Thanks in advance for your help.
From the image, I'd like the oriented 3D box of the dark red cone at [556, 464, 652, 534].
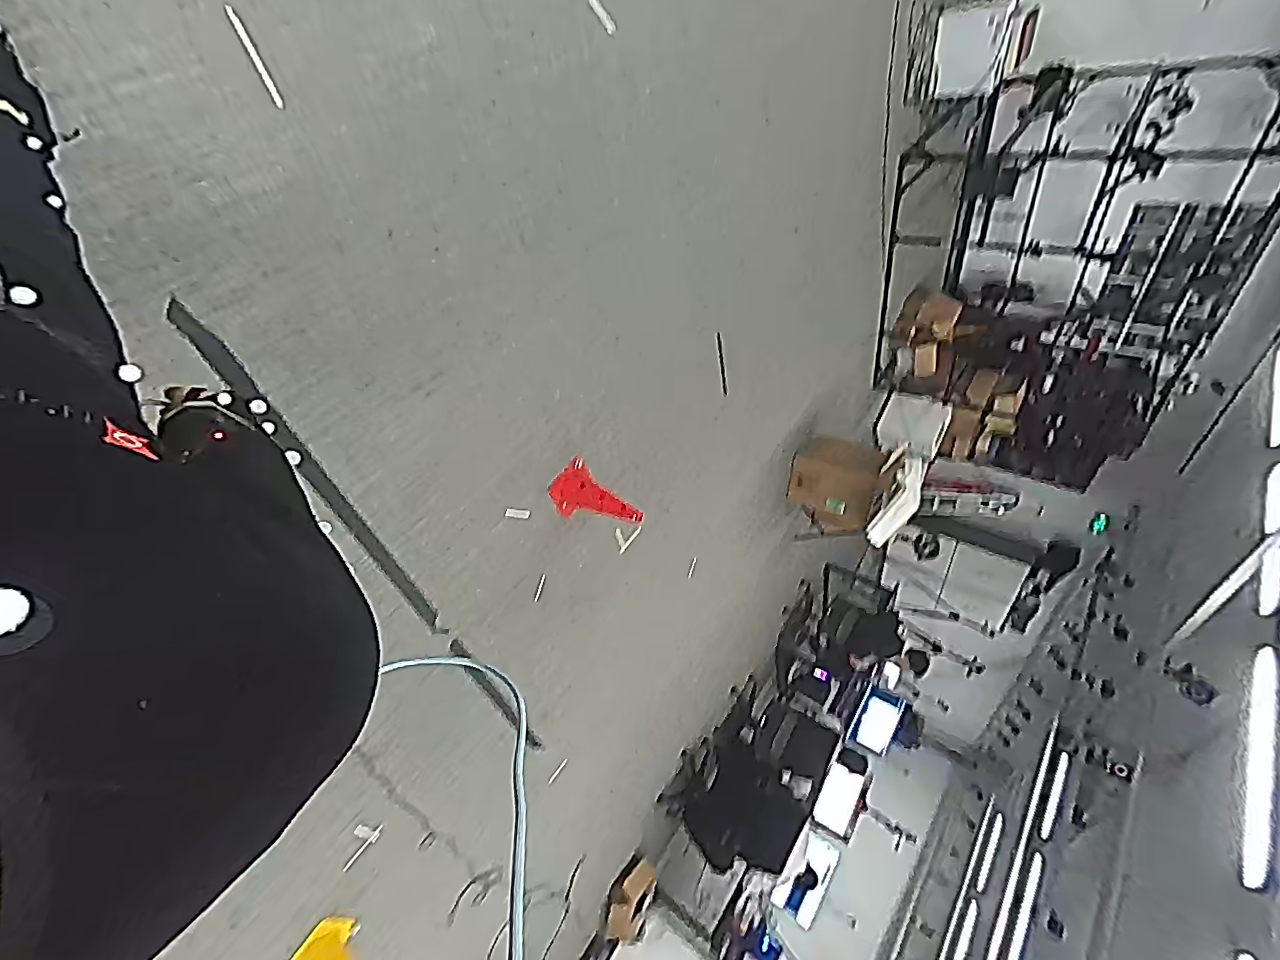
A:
[{"bbox_3d":[-0.119,0.109,2.046,0.201,0.394,0.202,-51,143,-23],"label":"dark red cone"}]
